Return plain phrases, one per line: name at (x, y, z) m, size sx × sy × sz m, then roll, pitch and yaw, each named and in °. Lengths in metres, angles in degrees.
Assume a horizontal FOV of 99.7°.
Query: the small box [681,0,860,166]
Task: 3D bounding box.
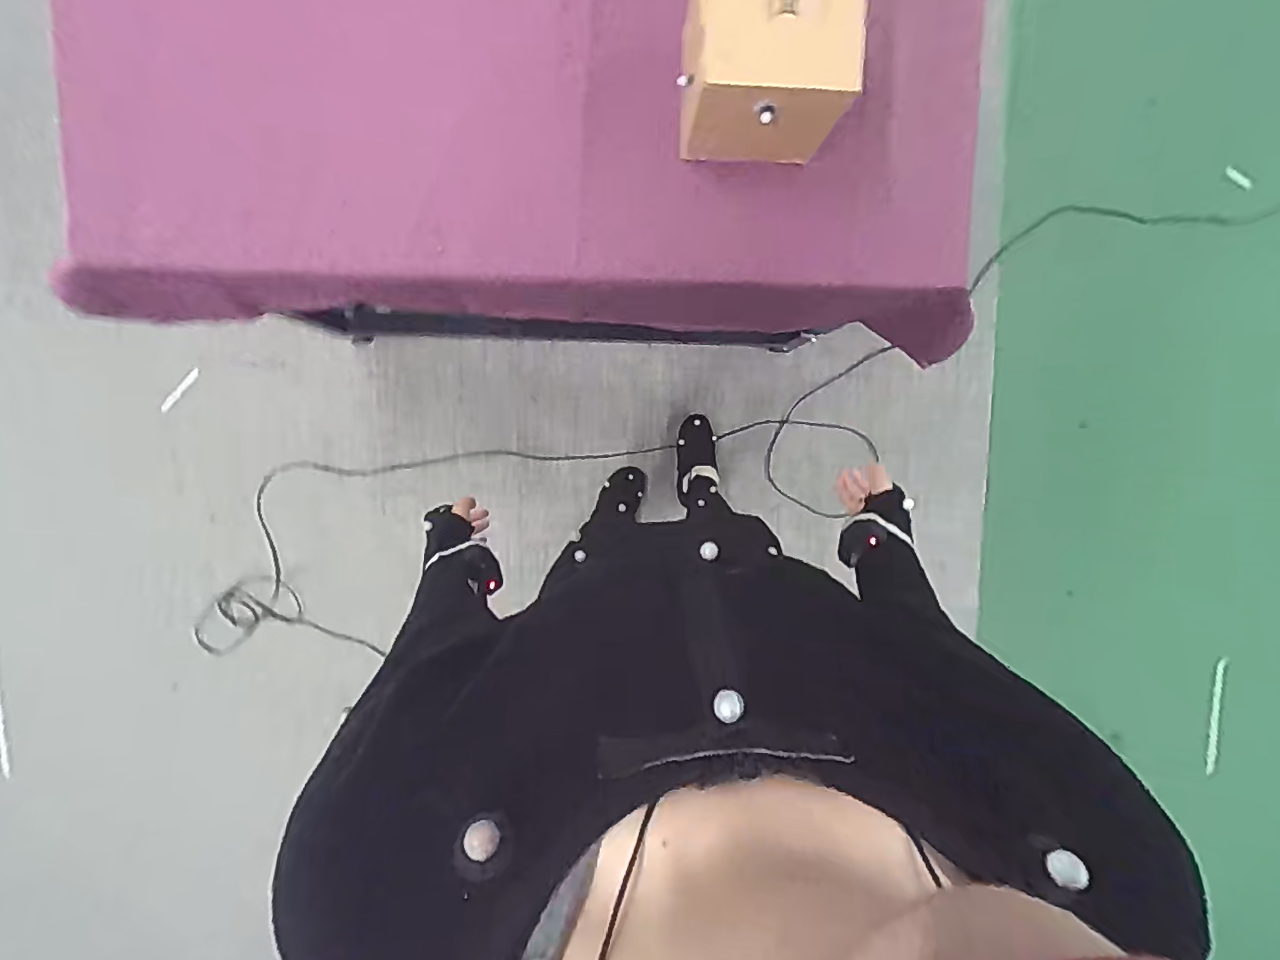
small box at (0.145, -0.506, 0.654) m, size 0.179 × 0.176 × 0.168 m, roll 1°, pitch 95°, yaw -4°
